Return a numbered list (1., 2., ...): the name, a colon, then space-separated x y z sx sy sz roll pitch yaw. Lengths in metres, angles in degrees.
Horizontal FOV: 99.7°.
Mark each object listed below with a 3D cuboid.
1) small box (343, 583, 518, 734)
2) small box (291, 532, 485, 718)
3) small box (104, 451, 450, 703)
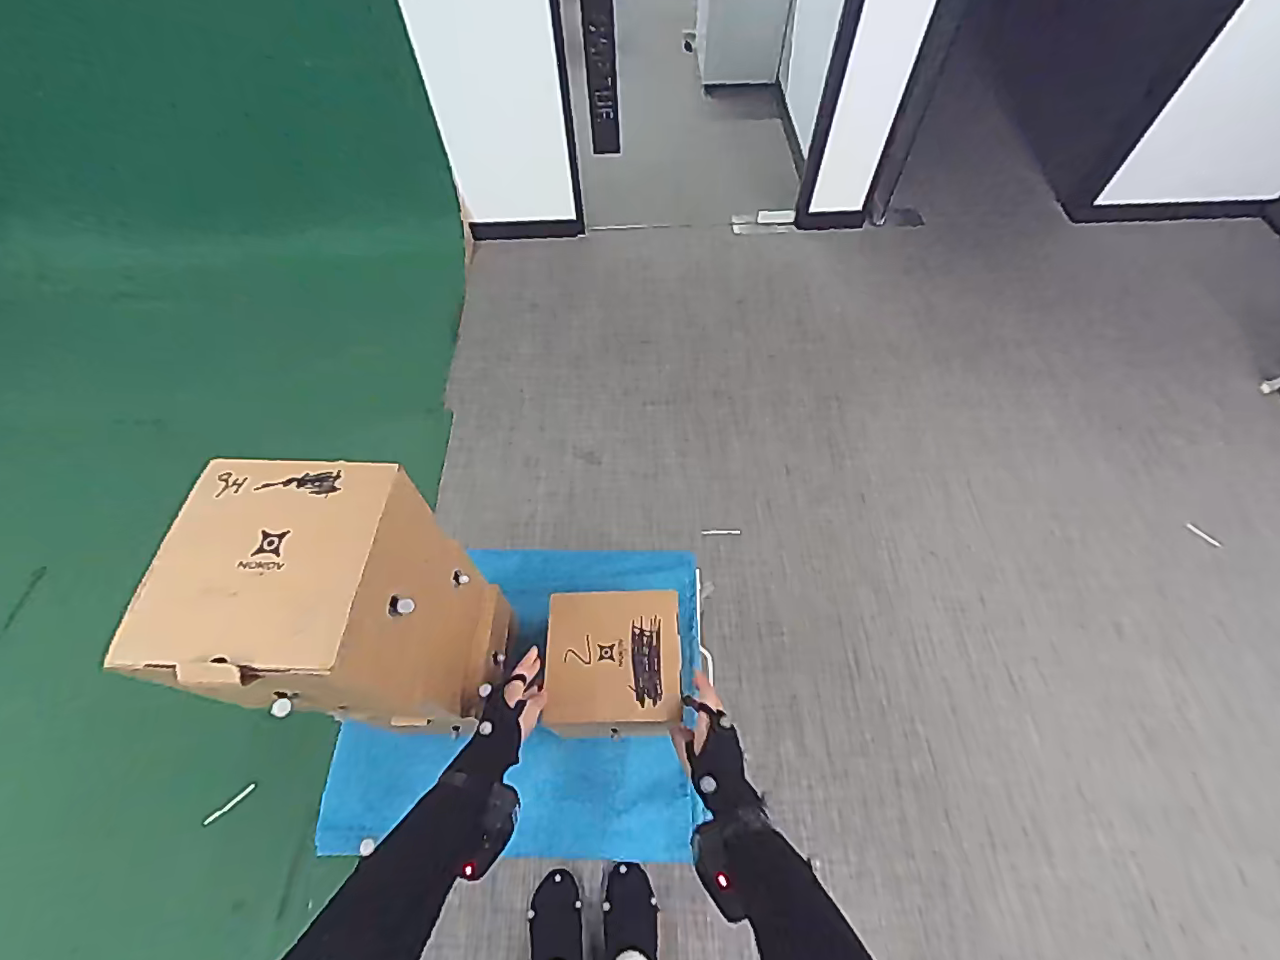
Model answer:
1. small box: -0.279 0.256 0.767 0.168 0.176 0.179 2 58 1
2. small box: -0.292 0.171 0.629 0.168 0.176 0.179 3 57 2
3. small box: -0.288 0.094 0.484 0.168 0.176 0.179 3 58 1
